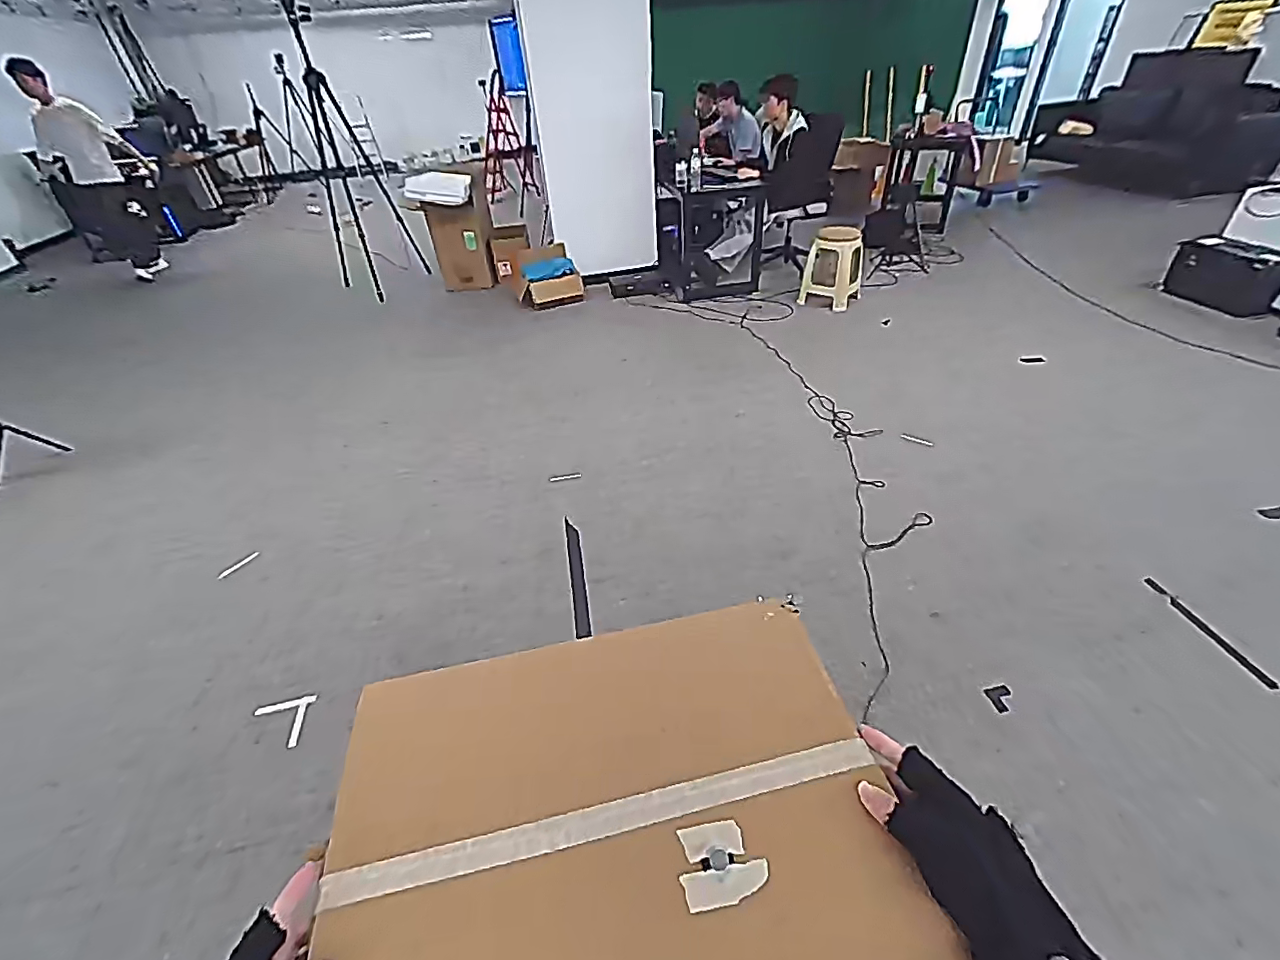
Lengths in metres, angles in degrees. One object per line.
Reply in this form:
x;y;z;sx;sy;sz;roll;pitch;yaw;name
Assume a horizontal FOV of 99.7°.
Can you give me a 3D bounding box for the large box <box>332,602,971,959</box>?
-0.010;0.367;0.504;0.408;0.320;0.320;-10;41;-8;large box
